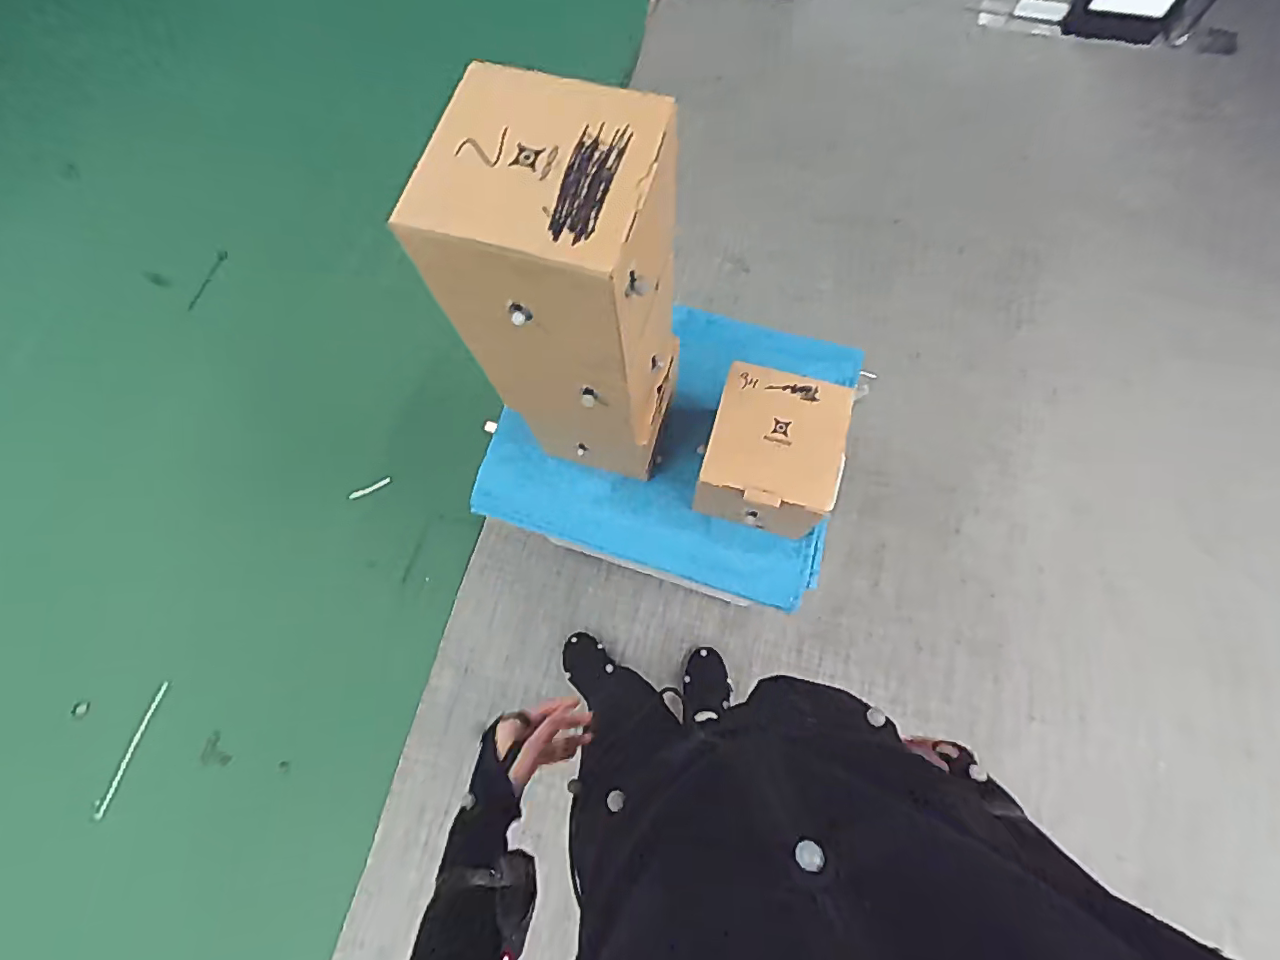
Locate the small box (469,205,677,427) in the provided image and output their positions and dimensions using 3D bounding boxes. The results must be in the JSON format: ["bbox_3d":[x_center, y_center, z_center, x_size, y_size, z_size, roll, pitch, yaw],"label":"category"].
[{"bbox_3d":[-0.064,-0.177,0.631,0.179,0.176,0.168,16,74,7],"label":"small box"}]

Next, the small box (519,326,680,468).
[{"bbox_3d":[-0.049,-0.130,0.787,0.179,0.176,0.168,16,74,7],"label":"small box"}]

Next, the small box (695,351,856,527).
[{"bbox_3d":[0.177,-0.047,0.754,0.168,0.176,0.179,16,75,7],"label":"small box"}]
